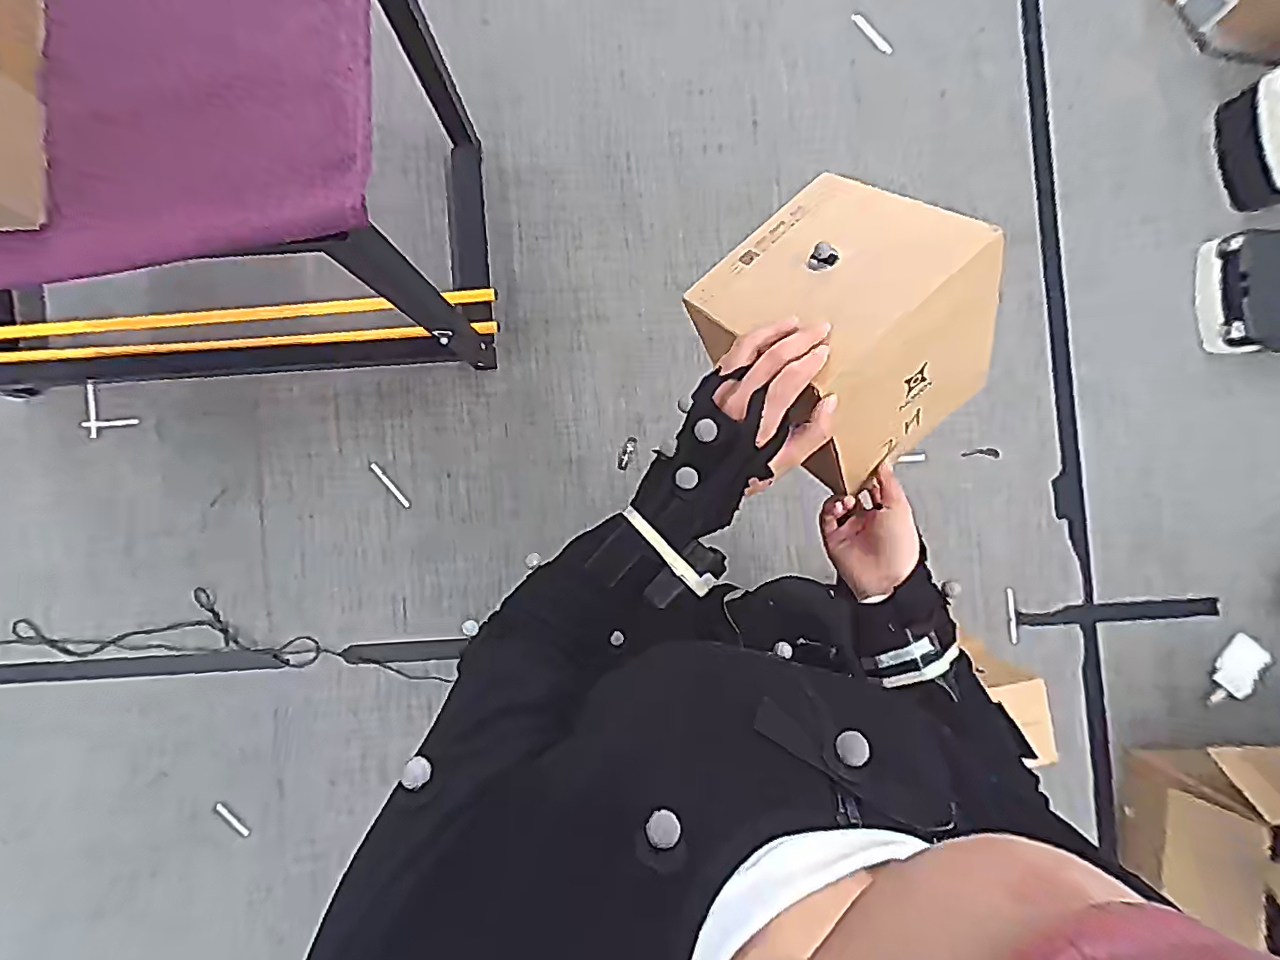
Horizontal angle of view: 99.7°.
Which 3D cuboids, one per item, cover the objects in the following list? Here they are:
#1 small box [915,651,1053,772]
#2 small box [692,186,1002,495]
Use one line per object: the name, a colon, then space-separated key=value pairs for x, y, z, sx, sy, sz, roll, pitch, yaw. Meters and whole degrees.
small box: x=0.695 y=0.469 z=1.118 sx=0.179 sy=0.176 sz=0.168 roll=-9 pitch=90 yaw=-2
small box: x=0.171 y=-0.125 z=0.472 sx=0.168 sy=0.179 sz=0.176 roll=-40 pitch=51 yaw=1
